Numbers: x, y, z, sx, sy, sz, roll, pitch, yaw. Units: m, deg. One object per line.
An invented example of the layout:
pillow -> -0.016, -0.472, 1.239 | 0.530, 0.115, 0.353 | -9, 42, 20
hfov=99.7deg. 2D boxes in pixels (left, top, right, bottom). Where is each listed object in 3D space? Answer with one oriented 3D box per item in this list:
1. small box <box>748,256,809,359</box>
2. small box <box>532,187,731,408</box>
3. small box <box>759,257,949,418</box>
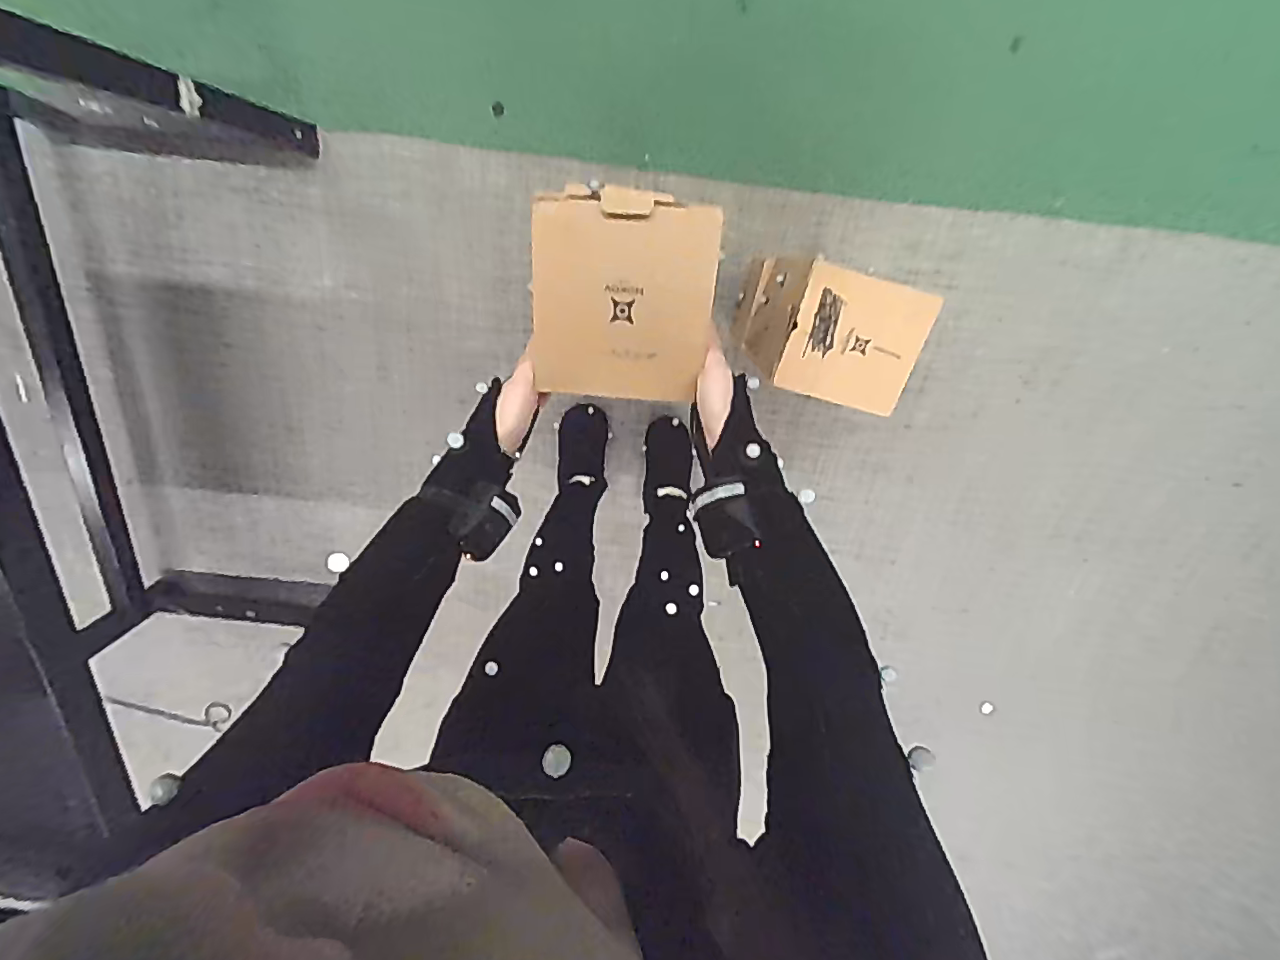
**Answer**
small box -> 0.298, -0.269, 0.920 | 0.179, 0.176, 0.168 | 17, 113, -5
small box -> -0.012, -0.188, 0.547 | 0.168, 0.176, 0.179 | 5, 117, -1
small box -> 0.284, -0.207, 0.769 | 0.179, 0.176, 0.168 | 15, 113, -4
